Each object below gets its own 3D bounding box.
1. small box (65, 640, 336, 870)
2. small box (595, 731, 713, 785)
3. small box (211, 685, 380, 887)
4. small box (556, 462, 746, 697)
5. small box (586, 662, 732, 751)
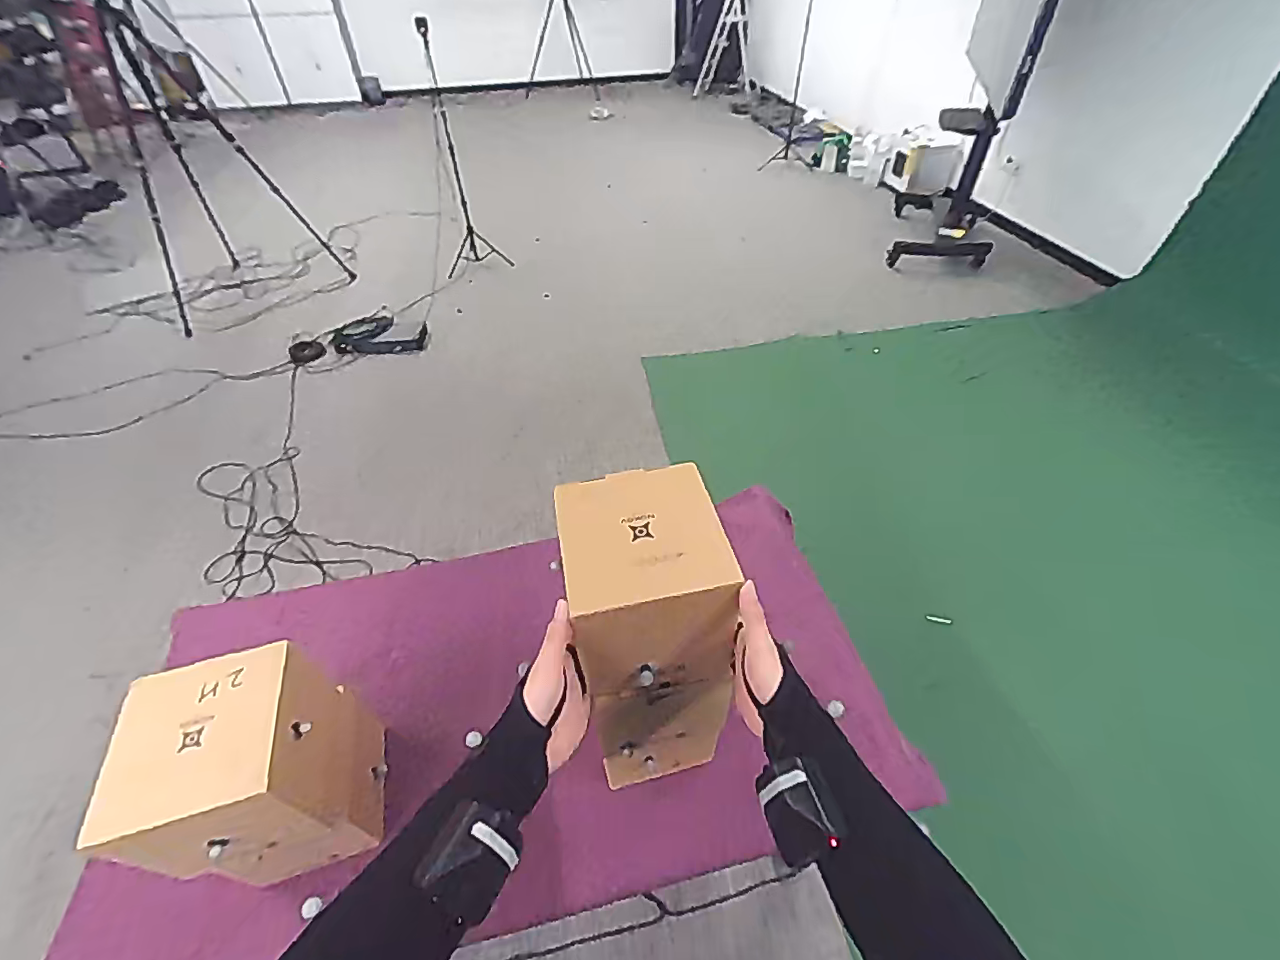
[{"bbox_3d":[-0.471,0.318,0.619,0.168,0.176,0.179,-12,47,-12],"label":"small box"},{"bbox_3d":[0.010,0.341,0.824,0.168,0.176,0.179,-11,45,-9],"label":"small box"},{"bbox_3d":[-0.475,0.422,0.749,0.168,0.176,0.179,-14,47,-12],"label":"small box"},{"bbox_3d":[0.003,0.107,0.592,0.168,0.176,0.179,-9,44,-7],"label":"small box"},{"bbox_3d":[0.011,0.229,0.703,0.168,0.176,0.179,-9,44,-8],"label":"small box"}]
